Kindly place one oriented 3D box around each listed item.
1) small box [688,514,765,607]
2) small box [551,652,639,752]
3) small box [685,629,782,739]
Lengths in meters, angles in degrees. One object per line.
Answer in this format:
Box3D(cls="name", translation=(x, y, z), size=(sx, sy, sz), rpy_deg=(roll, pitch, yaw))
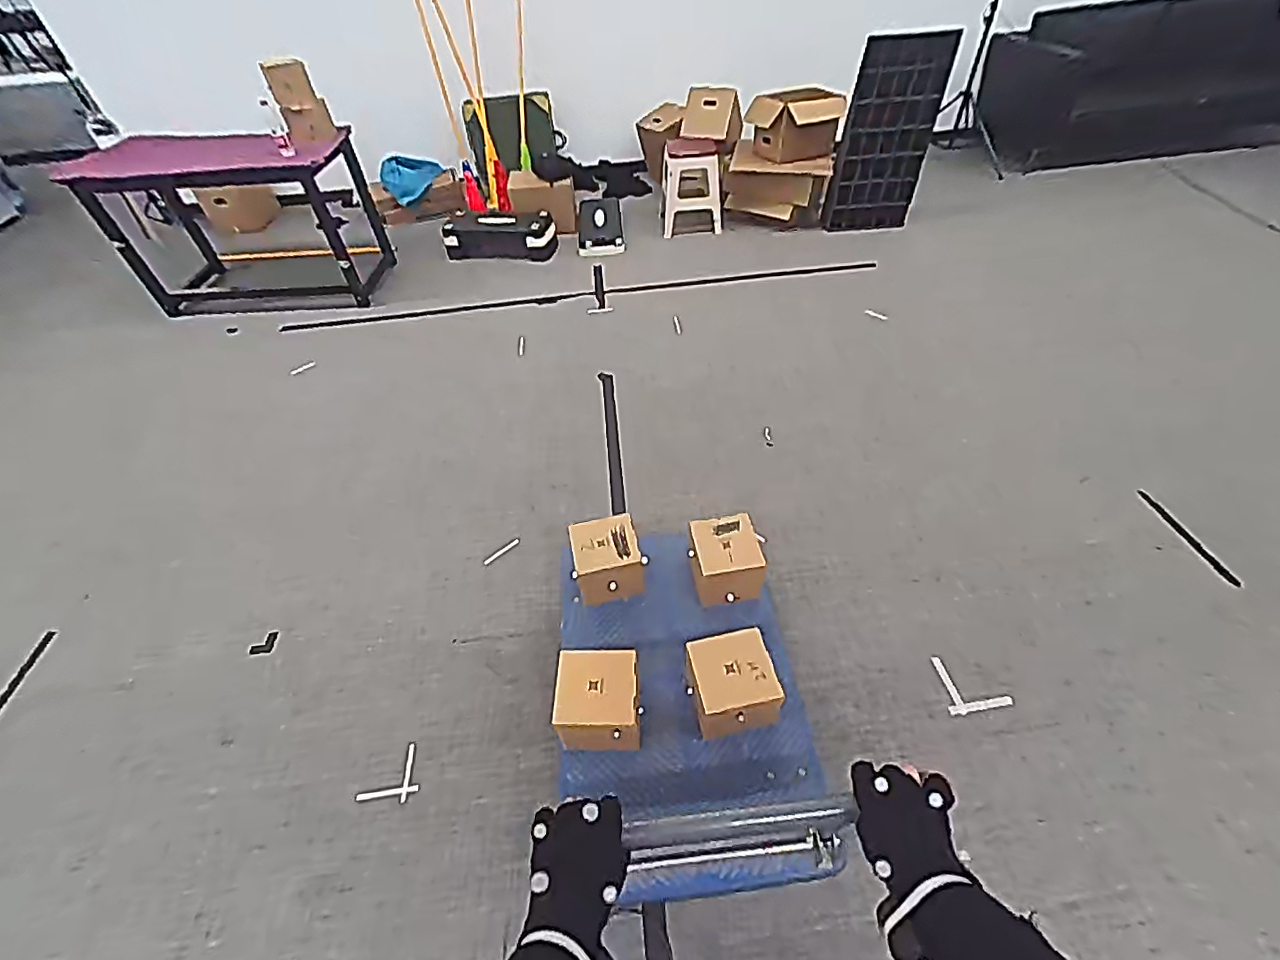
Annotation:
Box3D(cls="small box", translation=(0.226, 0.220, 1.468), size=(0.168, 0.176, 0.179), rpy_deg=(-9, 48, -3))
Box3D(cls="small box", translation=(-0.095, 0.506, 1.229), size=(0.179, 0.176, 0.168), rpy_deg=(-1, 46, 1))
Box3D(cls="small box", translation=(0.208, 0.470, 1.238), size=(0.179, 0.176, 0.168), rpy_deg=(-11, 48, -5))
